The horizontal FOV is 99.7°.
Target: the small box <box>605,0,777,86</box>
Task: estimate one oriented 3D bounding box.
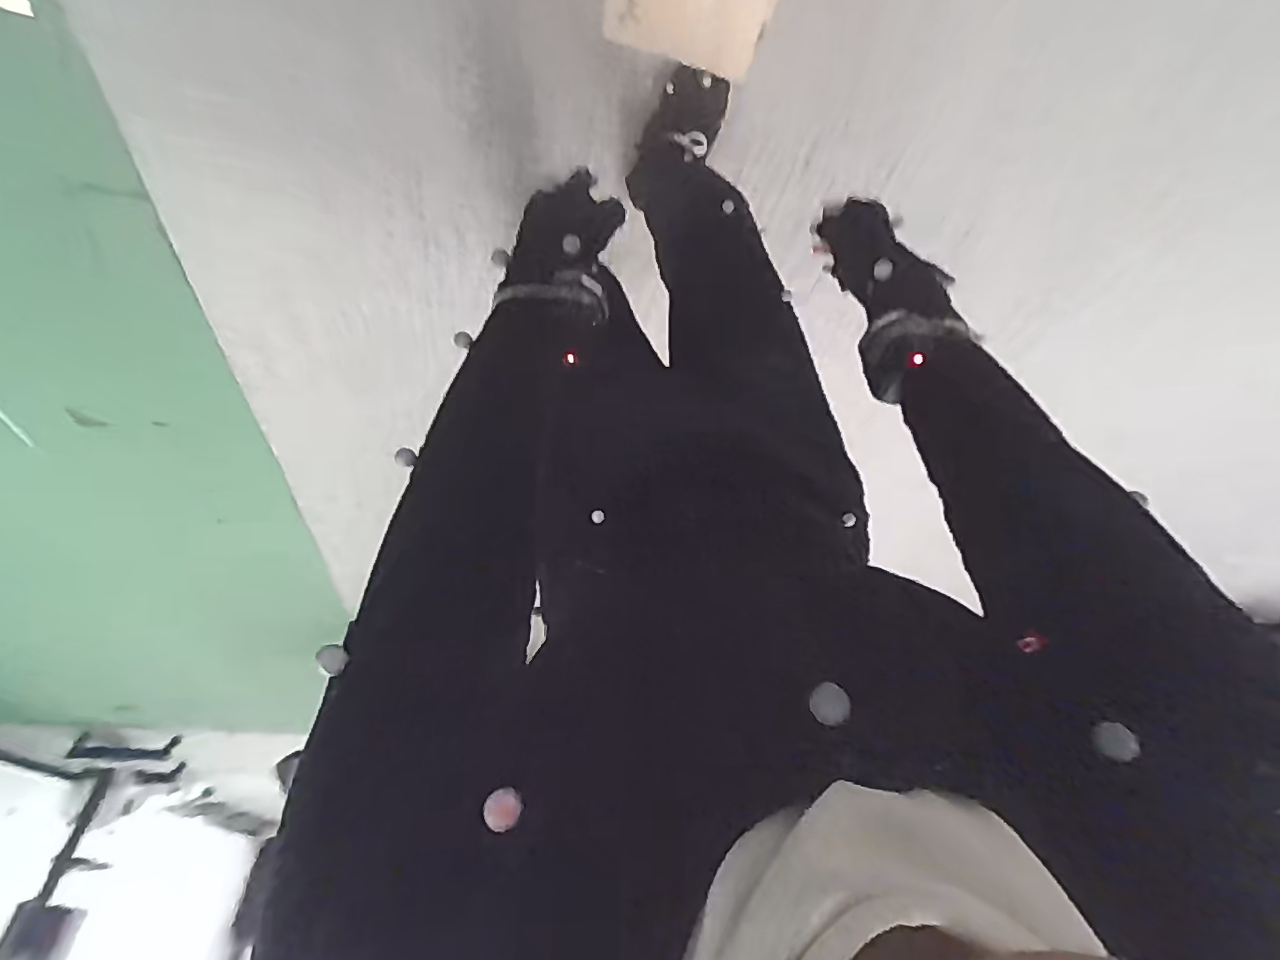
[{"bbox_3d":[0.064,-0.595,0.616,0.179,0.176,0.168,10,140,-13],"label":"small box"}]
